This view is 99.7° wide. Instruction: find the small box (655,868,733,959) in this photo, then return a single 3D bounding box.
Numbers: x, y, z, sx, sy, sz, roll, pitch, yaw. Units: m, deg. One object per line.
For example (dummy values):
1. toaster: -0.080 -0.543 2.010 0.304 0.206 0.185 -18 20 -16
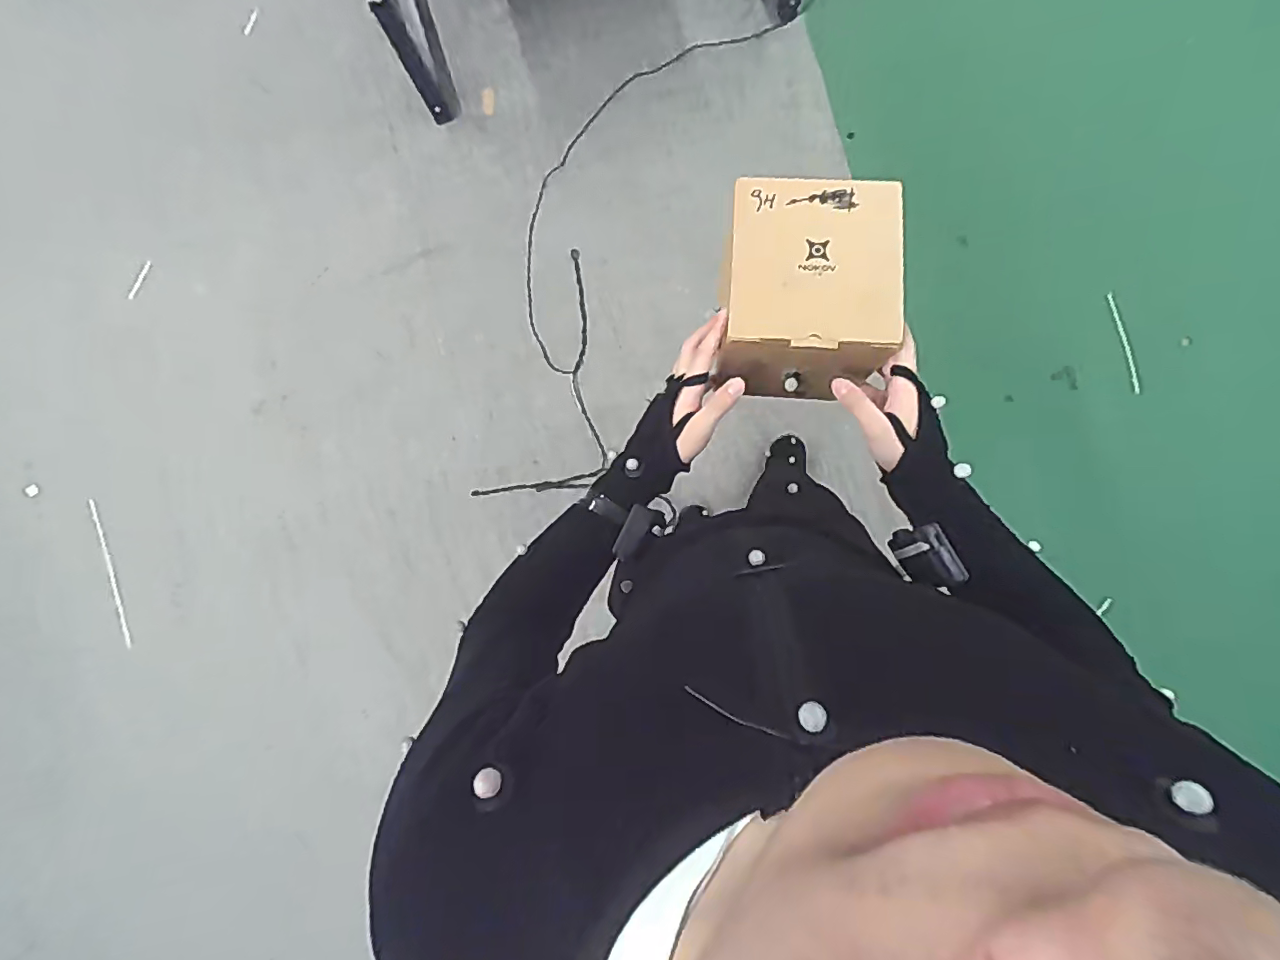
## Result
1. small box: 0.143 1.221 1.496 0.179 0.176 0.168 -14 87 1
